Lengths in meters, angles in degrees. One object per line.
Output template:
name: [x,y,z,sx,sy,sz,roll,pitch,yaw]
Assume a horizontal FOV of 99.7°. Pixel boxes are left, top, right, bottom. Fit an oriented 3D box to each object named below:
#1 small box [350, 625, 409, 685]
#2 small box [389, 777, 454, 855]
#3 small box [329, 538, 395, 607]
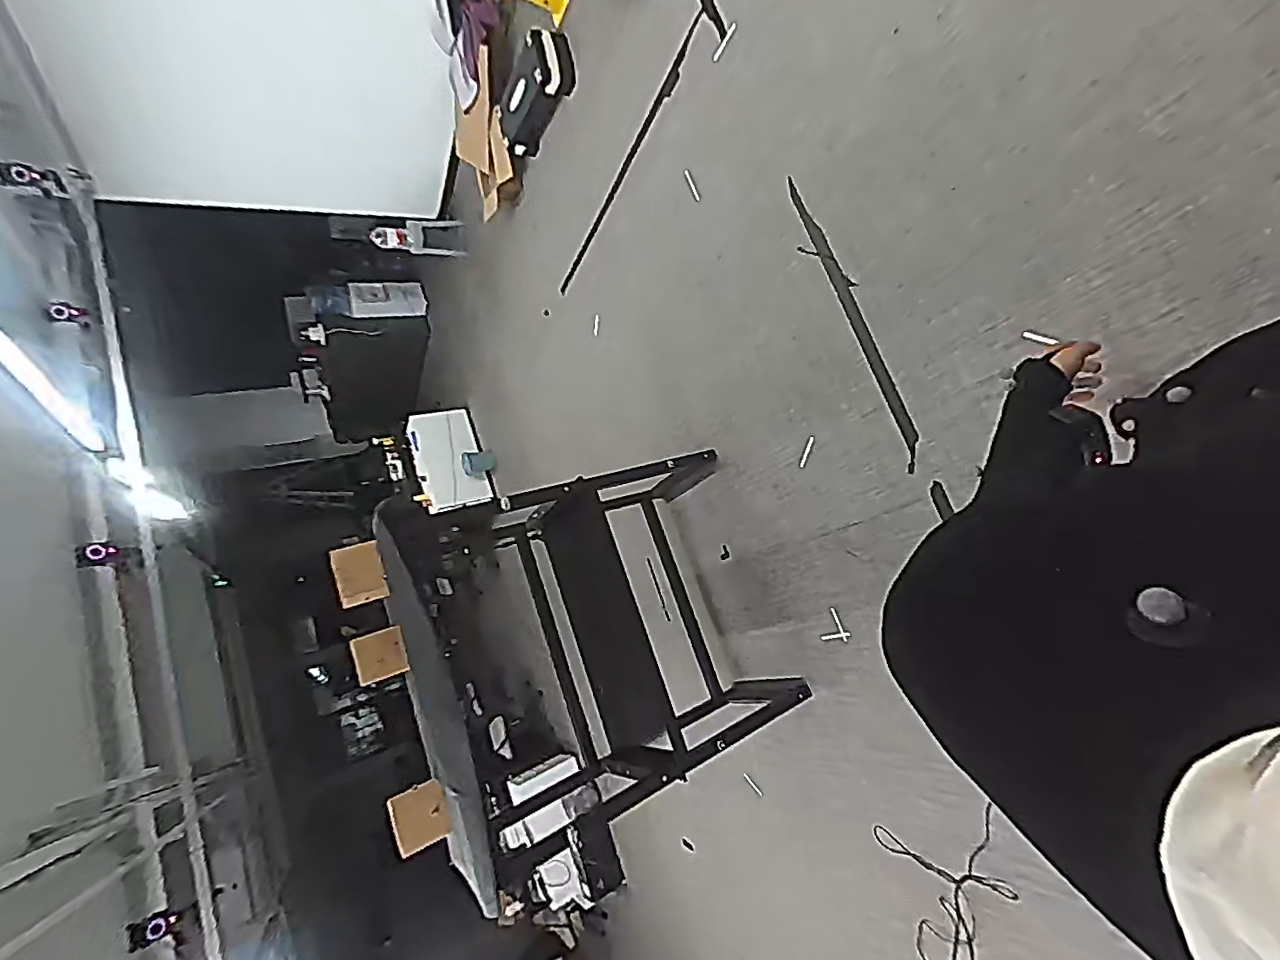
small box: [-0.983,0.659,2.045,0.179,0.176,0.168,-38,70,56]
small box: [-0.779,1.186,1.925,0.168,0.176,0.179,-40,67,55]
small box: [-0.944,0.313,1.844,0.179,0.176,0.168,-42,66,56]
